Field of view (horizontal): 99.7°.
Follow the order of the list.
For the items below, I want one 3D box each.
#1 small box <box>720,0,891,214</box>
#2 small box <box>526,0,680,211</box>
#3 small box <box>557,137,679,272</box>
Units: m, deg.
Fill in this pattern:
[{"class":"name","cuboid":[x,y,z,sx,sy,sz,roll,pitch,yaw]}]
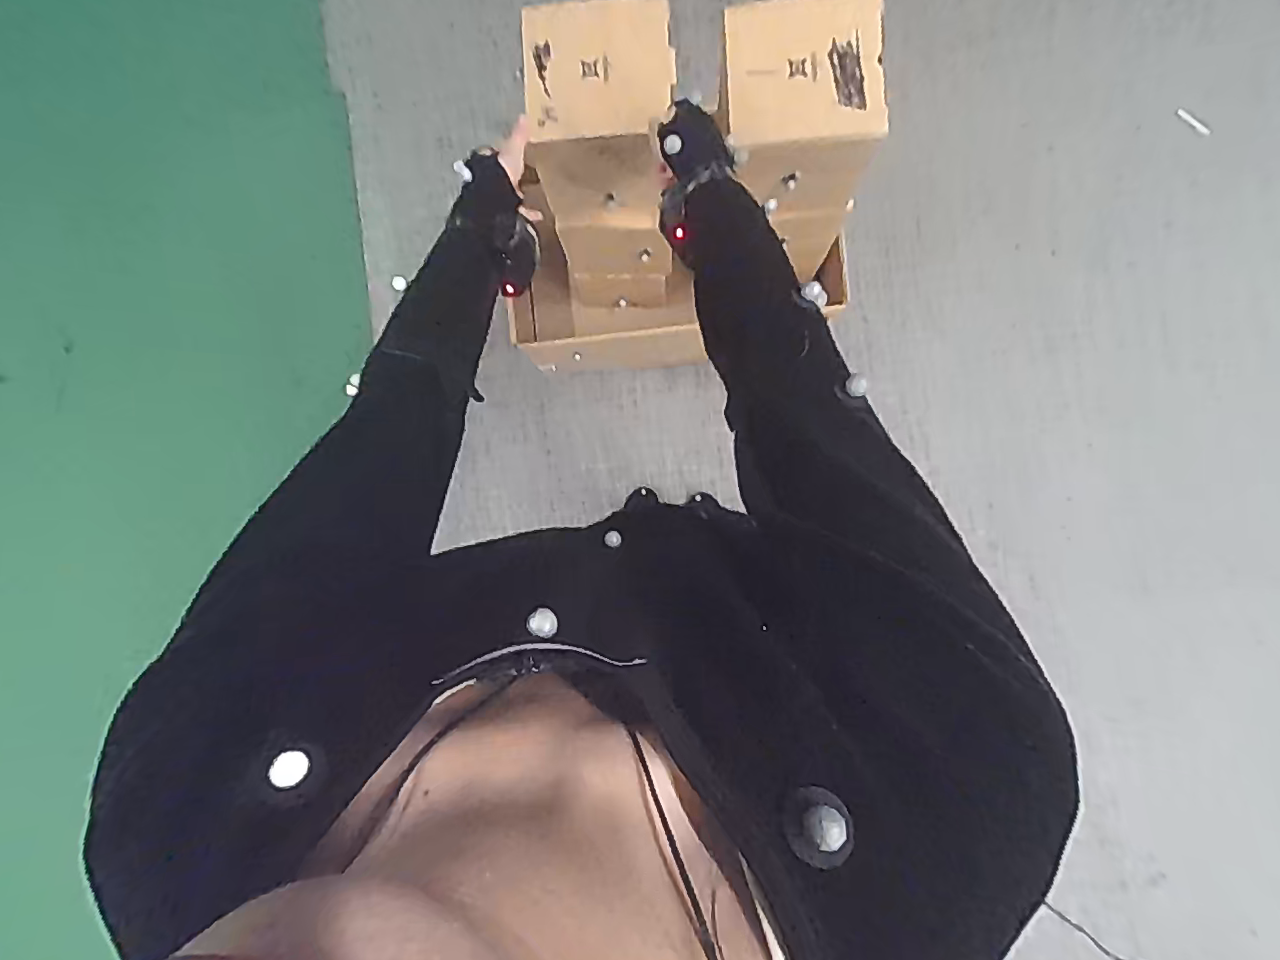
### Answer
[{"class":"small box","cuboid":[0.195,-0.459,0.679,0.179,0.176,0.168,-2,89,7]},{"class":"small box","cuboid":[-0.043,-0.475,0.706,0.179,0.176,0.168,-2,87,1]},{"class":"small box","cuboid":[-0.030,-0.448,0.867,0.179,0.176,0.168,1,88,3]}]
